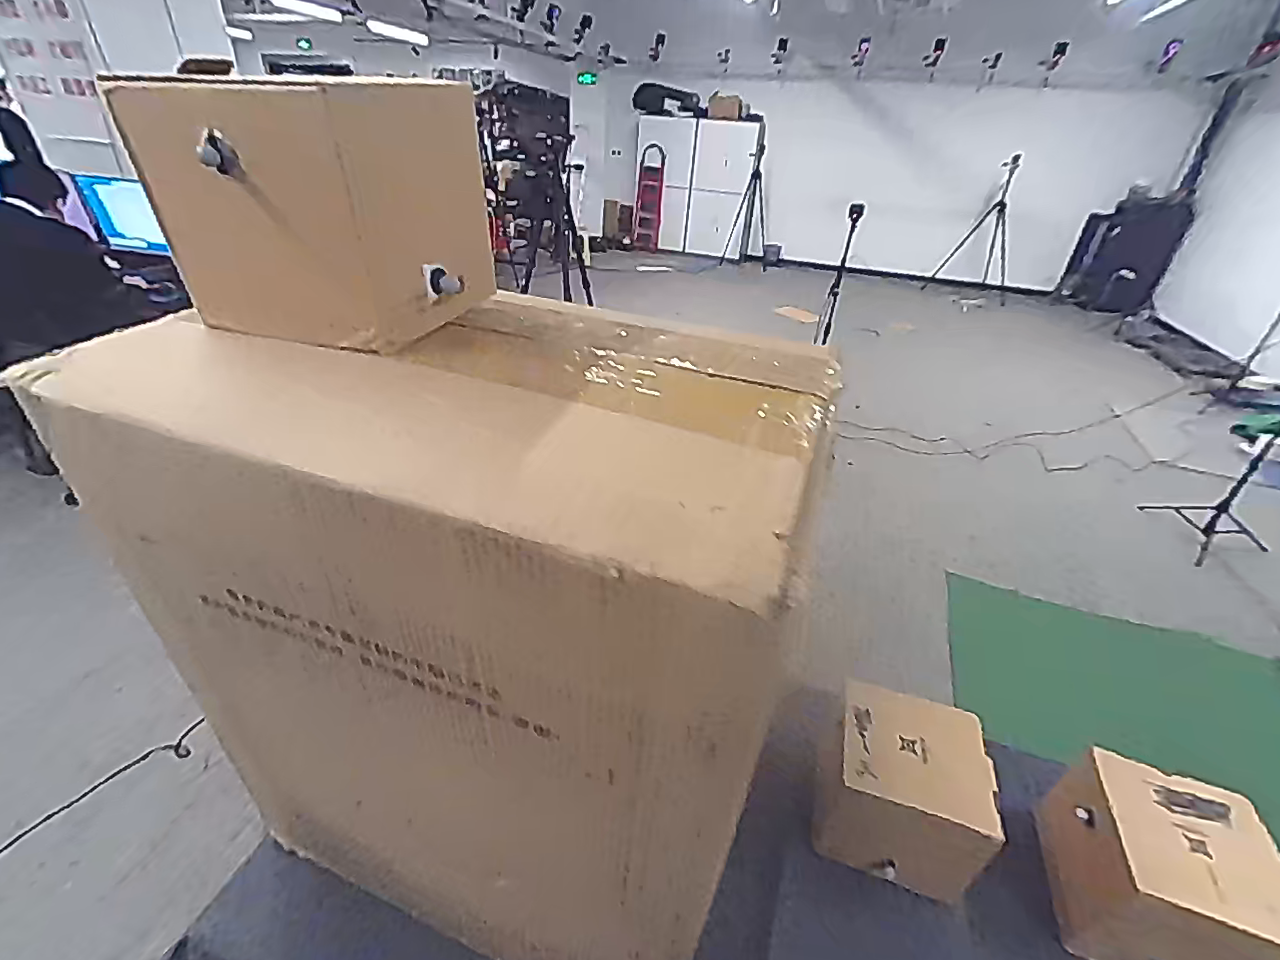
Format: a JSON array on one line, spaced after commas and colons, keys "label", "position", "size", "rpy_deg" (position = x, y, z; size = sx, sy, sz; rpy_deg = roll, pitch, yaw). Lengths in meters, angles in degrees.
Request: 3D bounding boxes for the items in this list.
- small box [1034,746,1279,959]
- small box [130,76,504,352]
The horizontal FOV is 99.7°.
[{"label": "small box", "position": [0.619, 0.476, 0.659], "size": [0.168, 0.176, 0.179], "rpy_deg": [15, 34, 17]}, {"label": "small box", "position": [-0.230, -0.218, 0.440], "size": [0.179, 0.176, 0.168], "rpy_deg": [12, 38, 11]}]
